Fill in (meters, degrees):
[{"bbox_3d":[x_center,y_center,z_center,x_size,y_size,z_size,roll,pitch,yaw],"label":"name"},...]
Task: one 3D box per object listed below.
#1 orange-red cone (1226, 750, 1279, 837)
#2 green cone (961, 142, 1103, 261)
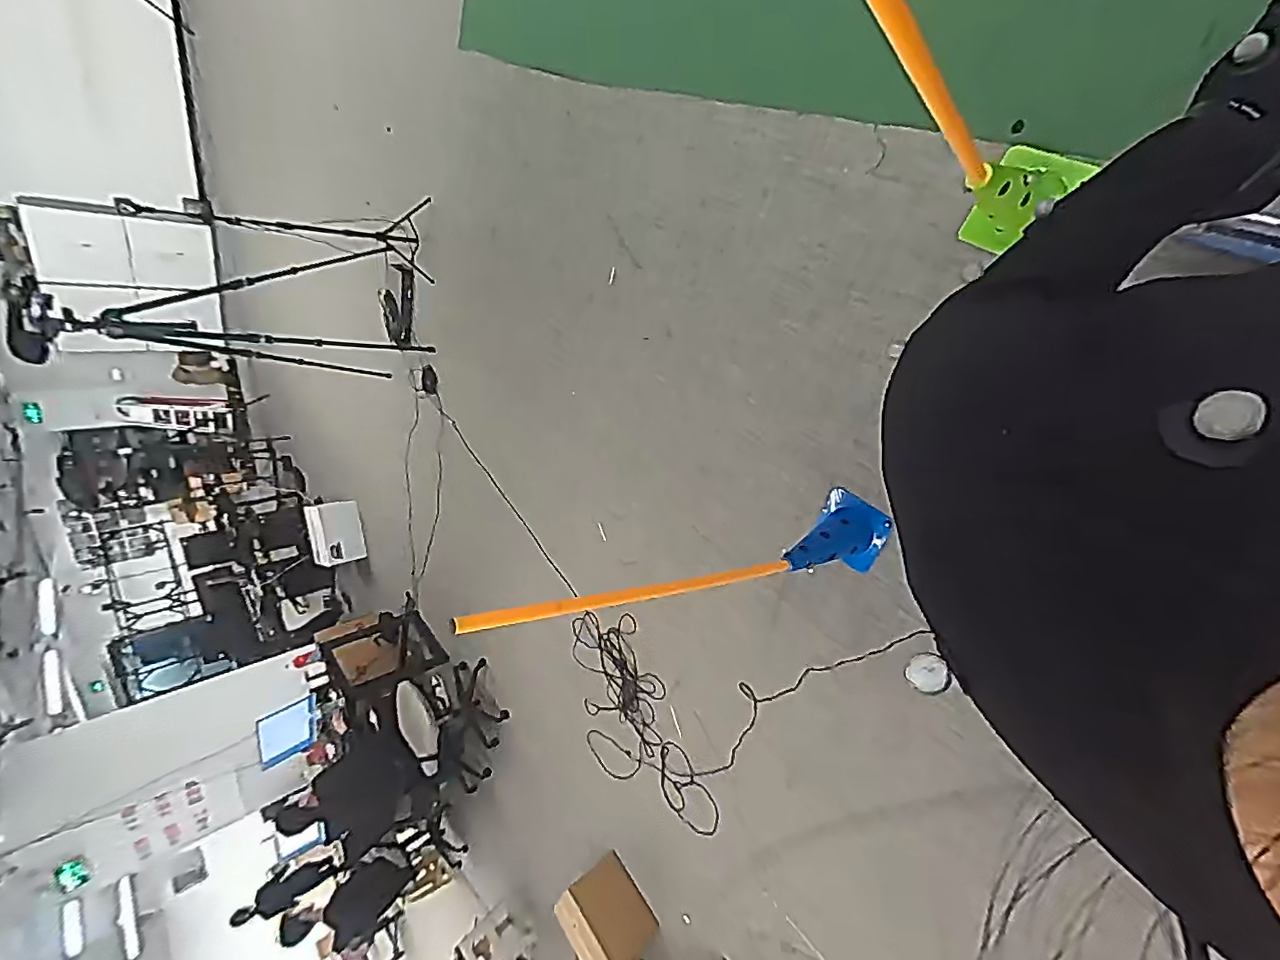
[{"bbox_3d":[1.173,0.655,0.915,0.199,0.360,0.198,39,126,35],"label":"orange-red cone"},{"bbox_3d":[0.716,-0.575,1.059,0.202,0.368,0.200,43,128,32],"label":"green cone"}]
